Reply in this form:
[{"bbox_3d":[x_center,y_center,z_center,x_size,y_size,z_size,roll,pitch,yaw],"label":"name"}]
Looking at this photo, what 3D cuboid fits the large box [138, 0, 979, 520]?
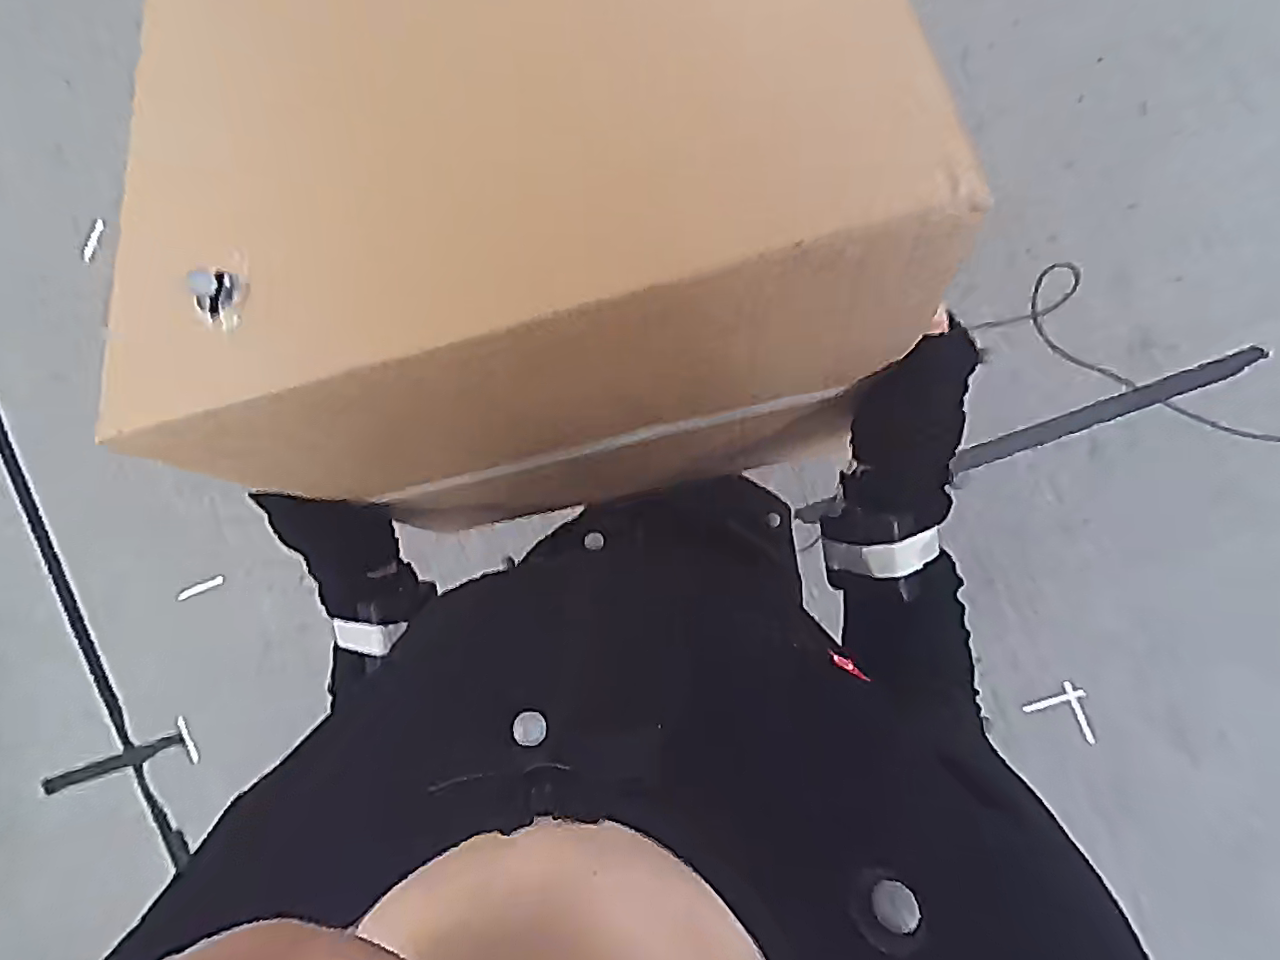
[{"bbox_3d":[-0.056,-0.180,0.417,0.408,0.320,0.320,-12,75,9],"label":"large box"}]
